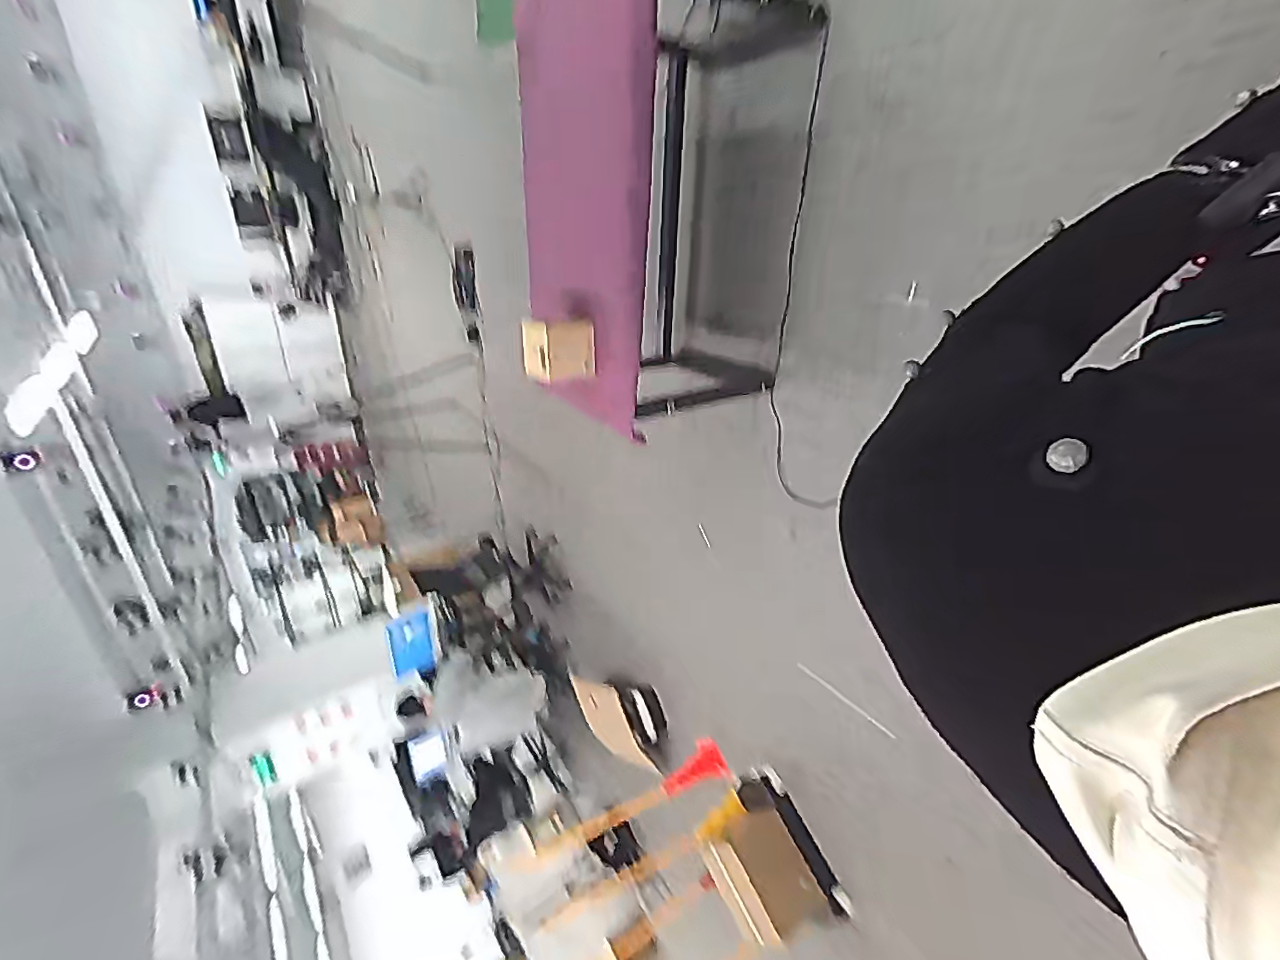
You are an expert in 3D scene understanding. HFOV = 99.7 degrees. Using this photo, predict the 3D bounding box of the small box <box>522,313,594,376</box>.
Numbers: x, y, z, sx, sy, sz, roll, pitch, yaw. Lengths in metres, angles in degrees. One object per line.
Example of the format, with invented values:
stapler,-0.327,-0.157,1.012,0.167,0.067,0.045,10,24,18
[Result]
small box,-0.258,-0.440,1.730,0.179,0.176,0.168,29,126,47
